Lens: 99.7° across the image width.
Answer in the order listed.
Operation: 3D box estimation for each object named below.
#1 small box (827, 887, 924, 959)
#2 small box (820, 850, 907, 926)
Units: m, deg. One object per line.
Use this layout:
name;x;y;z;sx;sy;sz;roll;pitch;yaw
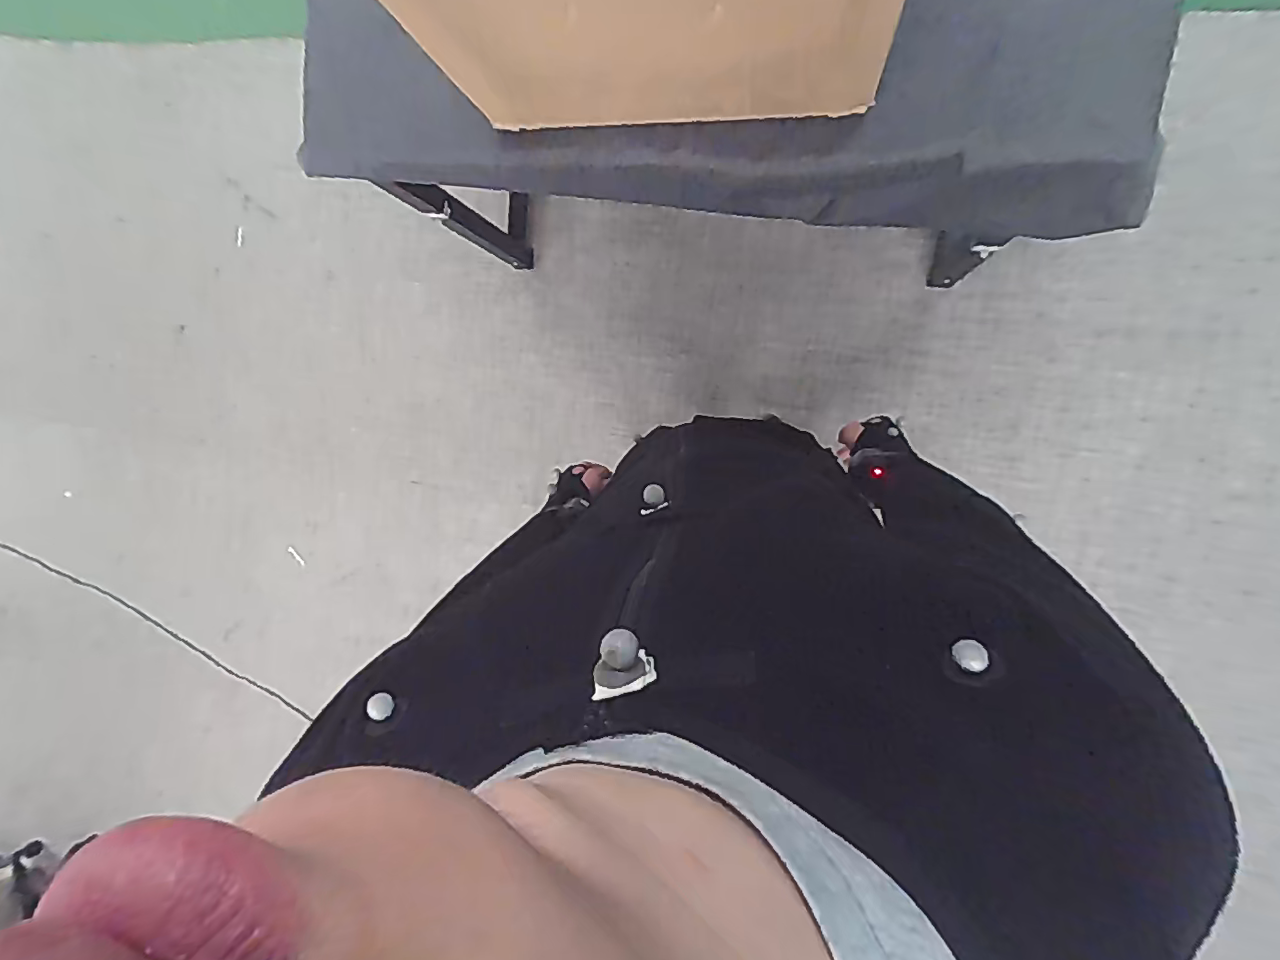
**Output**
small box;0.581;1.170;1.328;0.168;0.176;0.179;39;102;6
small box;0.620;1.181;1.490;0.168;0.176;0.179;-39;85;13
